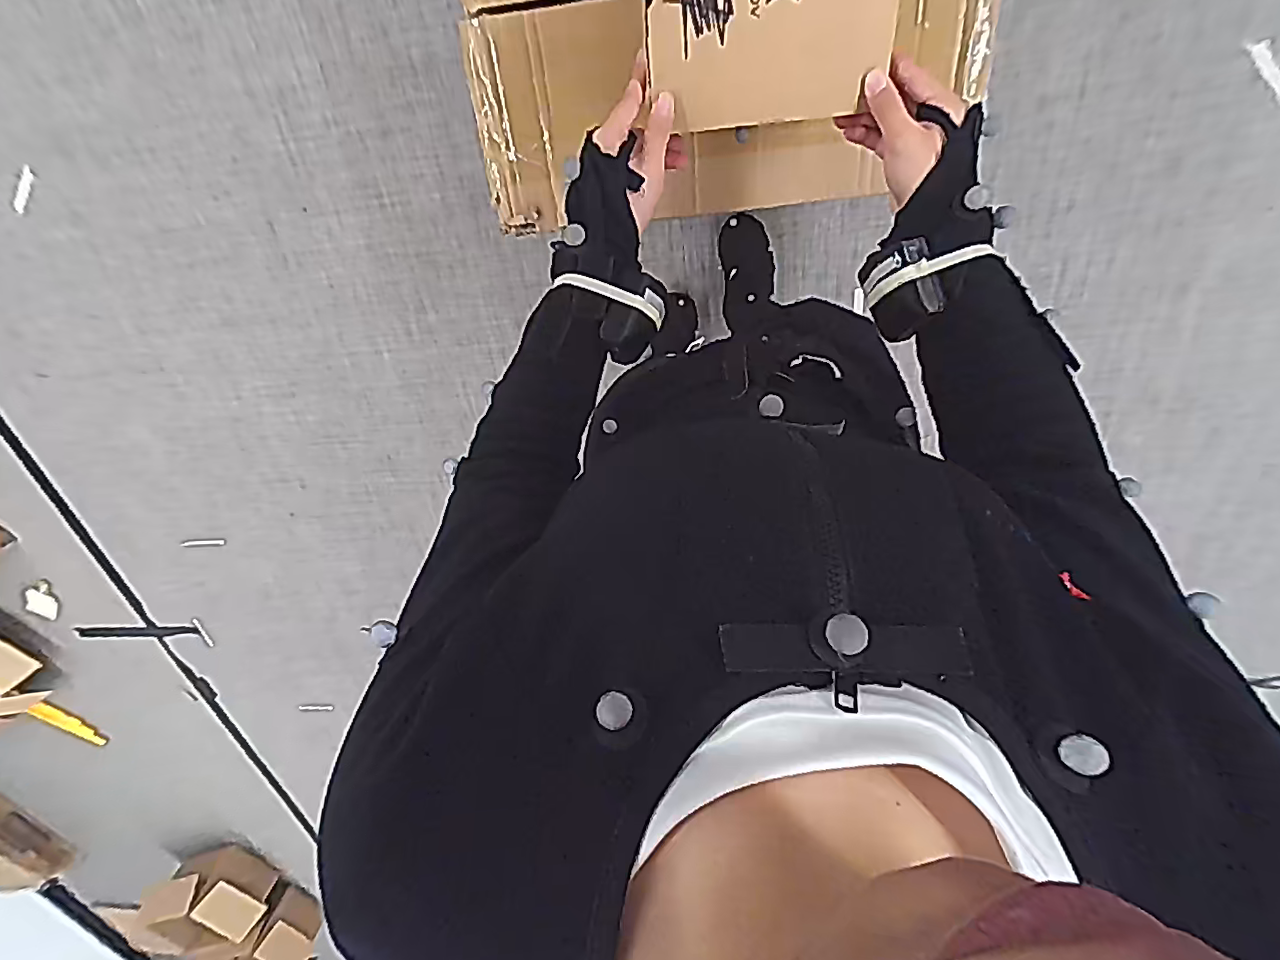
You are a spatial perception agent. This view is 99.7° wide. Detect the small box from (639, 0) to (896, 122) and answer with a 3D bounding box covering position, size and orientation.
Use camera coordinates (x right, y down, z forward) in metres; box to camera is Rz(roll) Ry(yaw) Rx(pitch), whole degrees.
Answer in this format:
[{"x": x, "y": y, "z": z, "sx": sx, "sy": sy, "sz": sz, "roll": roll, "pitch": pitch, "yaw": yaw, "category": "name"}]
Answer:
[{"x": 0.088, "y": -0.386, "z": 0.422, "sx": 0.179, "sy": 0.176, "sz": 0.168, "roll": -4, "pitch": 126, "yaw": 4, "category": "small box"}]
